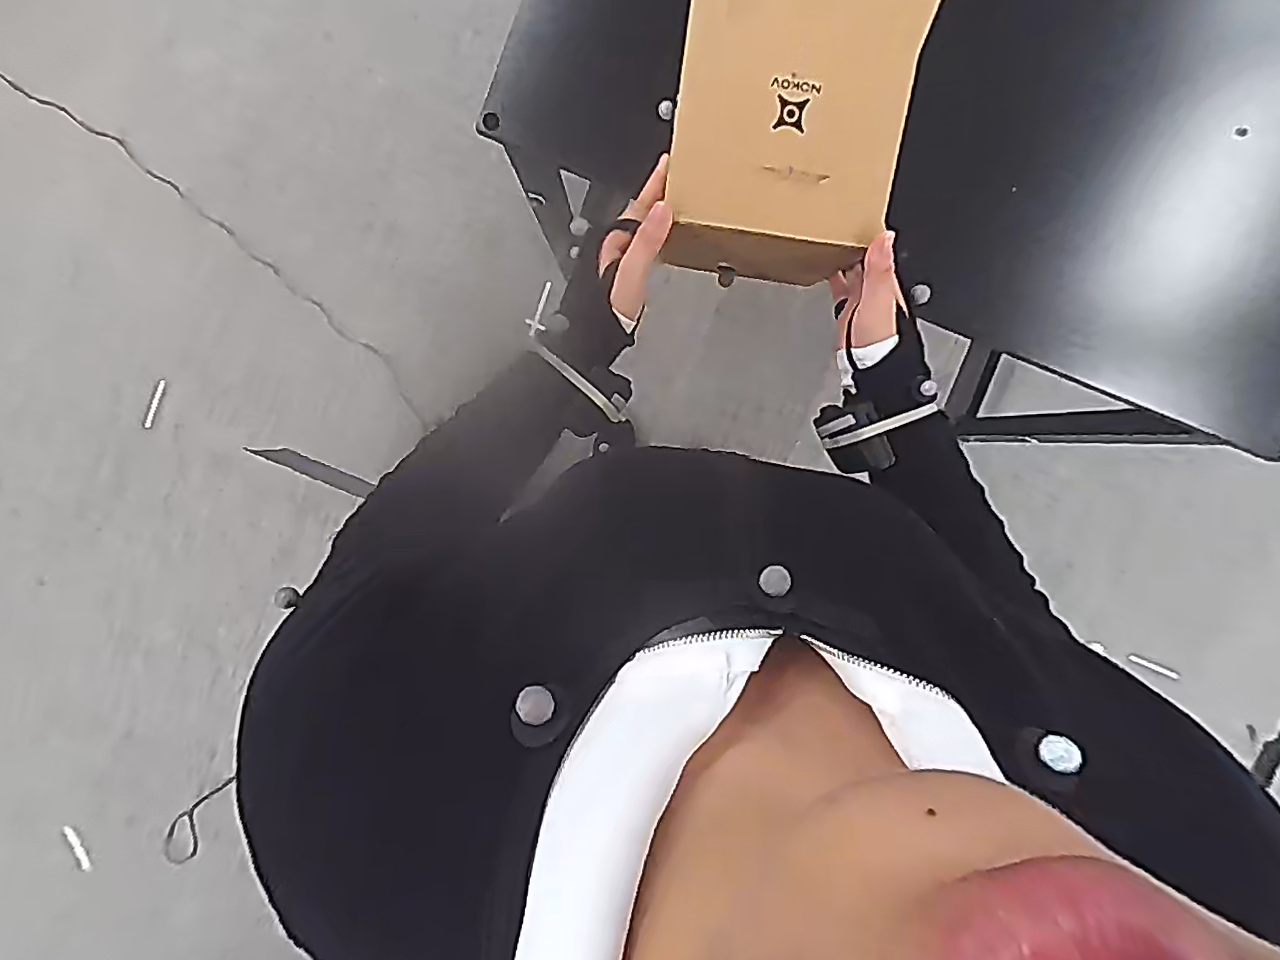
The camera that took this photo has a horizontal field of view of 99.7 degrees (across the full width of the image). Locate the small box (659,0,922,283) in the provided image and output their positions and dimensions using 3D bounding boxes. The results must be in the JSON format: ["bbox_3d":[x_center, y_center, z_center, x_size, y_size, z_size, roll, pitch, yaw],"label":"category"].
[{"bbox_3d":[0.109,-0.287,0.474,0.168,0.176,0.179,8,101,-1],"label":"small box"}]
